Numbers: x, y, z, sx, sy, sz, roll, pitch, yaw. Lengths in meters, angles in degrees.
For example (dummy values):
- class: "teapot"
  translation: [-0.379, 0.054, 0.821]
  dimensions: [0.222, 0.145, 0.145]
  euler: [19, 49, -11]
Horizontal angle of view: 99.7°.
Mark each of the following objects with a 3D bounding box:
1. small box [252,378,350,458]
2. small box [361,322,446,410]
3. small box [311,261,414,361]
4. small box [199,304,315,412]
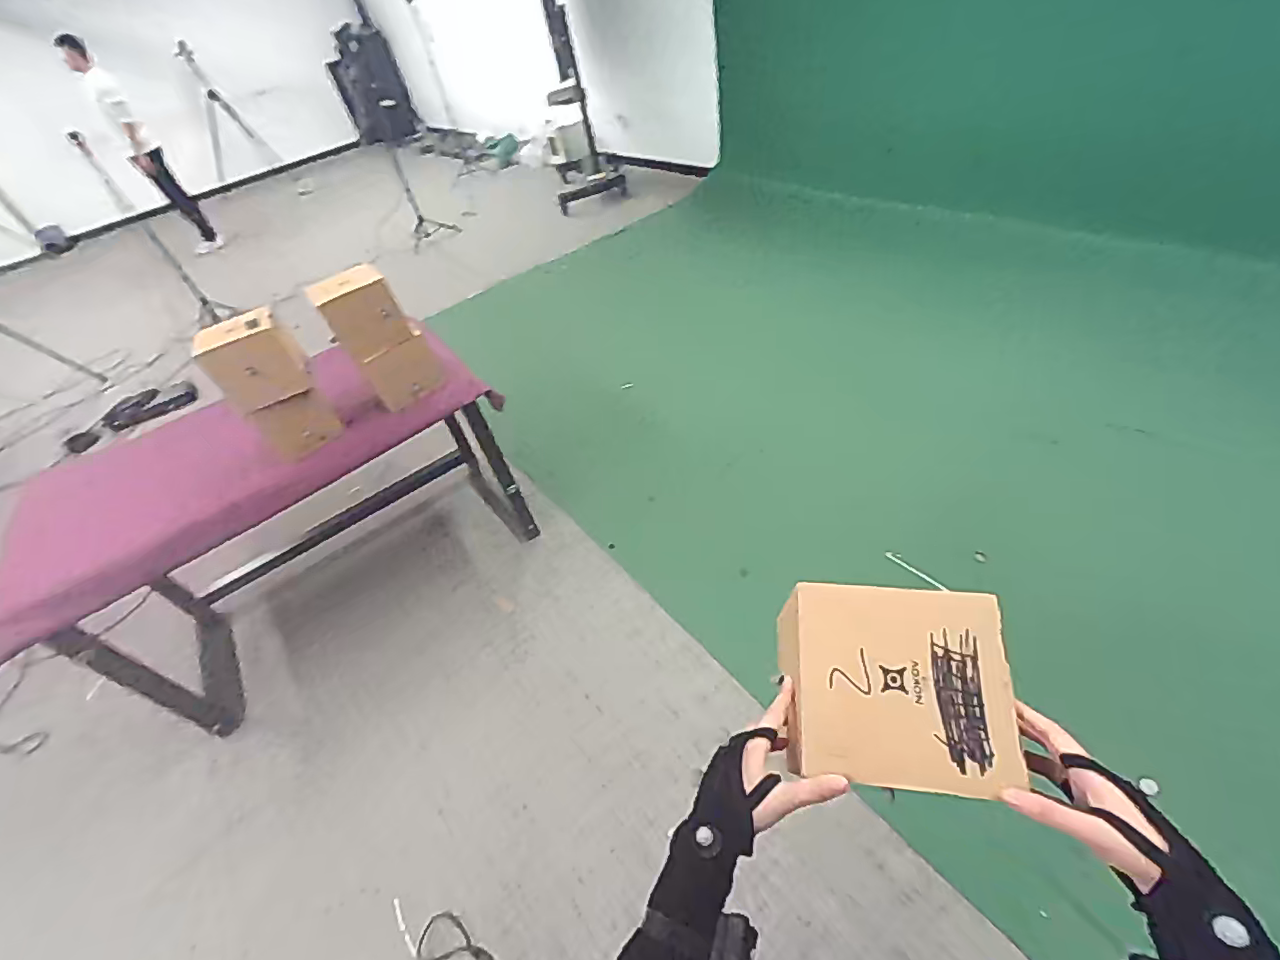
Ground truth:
- class: "small box"
  translation: [-0.922, -0.185, 1.449]
  dimensions: [0.168, 0.176, 0.179]
  euler: [-39, 48, -23]
- class: "small box"
  translation: [-0.675, -0.330, 1.531]
  dimensions: [0.179, 0.176, 0.168]
  euler: [-37, 48, -22]
- class: "small box"
  translation: [-0.718, -0.442, 1.418]
  dimensions: [0.179, 0.176, 0.168]
  euler: [-33, 47, -17]
- class: "small box"
  translation: [-0.926, -0.298, 1.326]
  dimensions: [0.179, 0.176, 0.168]
  euler: [-28, 44, -13]
